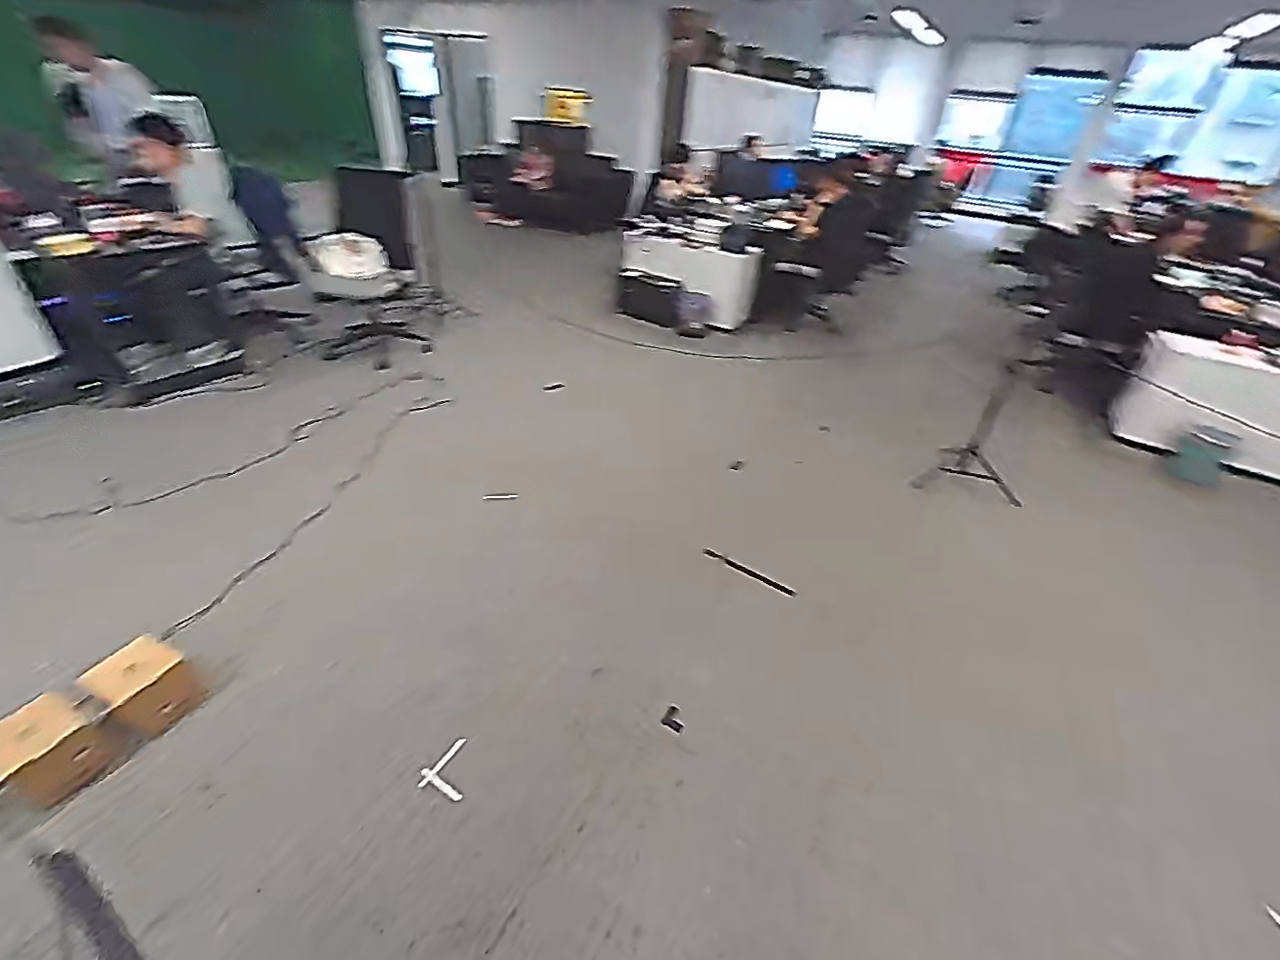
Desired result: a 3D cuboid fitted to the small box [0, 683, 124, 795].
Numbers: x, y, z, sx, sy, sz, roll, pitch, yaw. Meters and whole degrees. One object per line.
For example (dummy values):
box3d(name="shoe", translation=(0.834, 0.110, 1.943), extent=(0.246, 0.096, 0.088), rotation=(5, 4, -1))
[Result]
box3d(name="small box", translation=(-1.484, 0.662, 1.376), extent=(0.179, 0.176, 0.168), rotation=(20, 38, 20))

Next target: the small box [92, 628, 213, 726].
box3d(name="small box", translation=(-1.373, 0.560, 1.532), extent=(0.179, 0.176, 0.168), rotation=(19, 38, 17))
